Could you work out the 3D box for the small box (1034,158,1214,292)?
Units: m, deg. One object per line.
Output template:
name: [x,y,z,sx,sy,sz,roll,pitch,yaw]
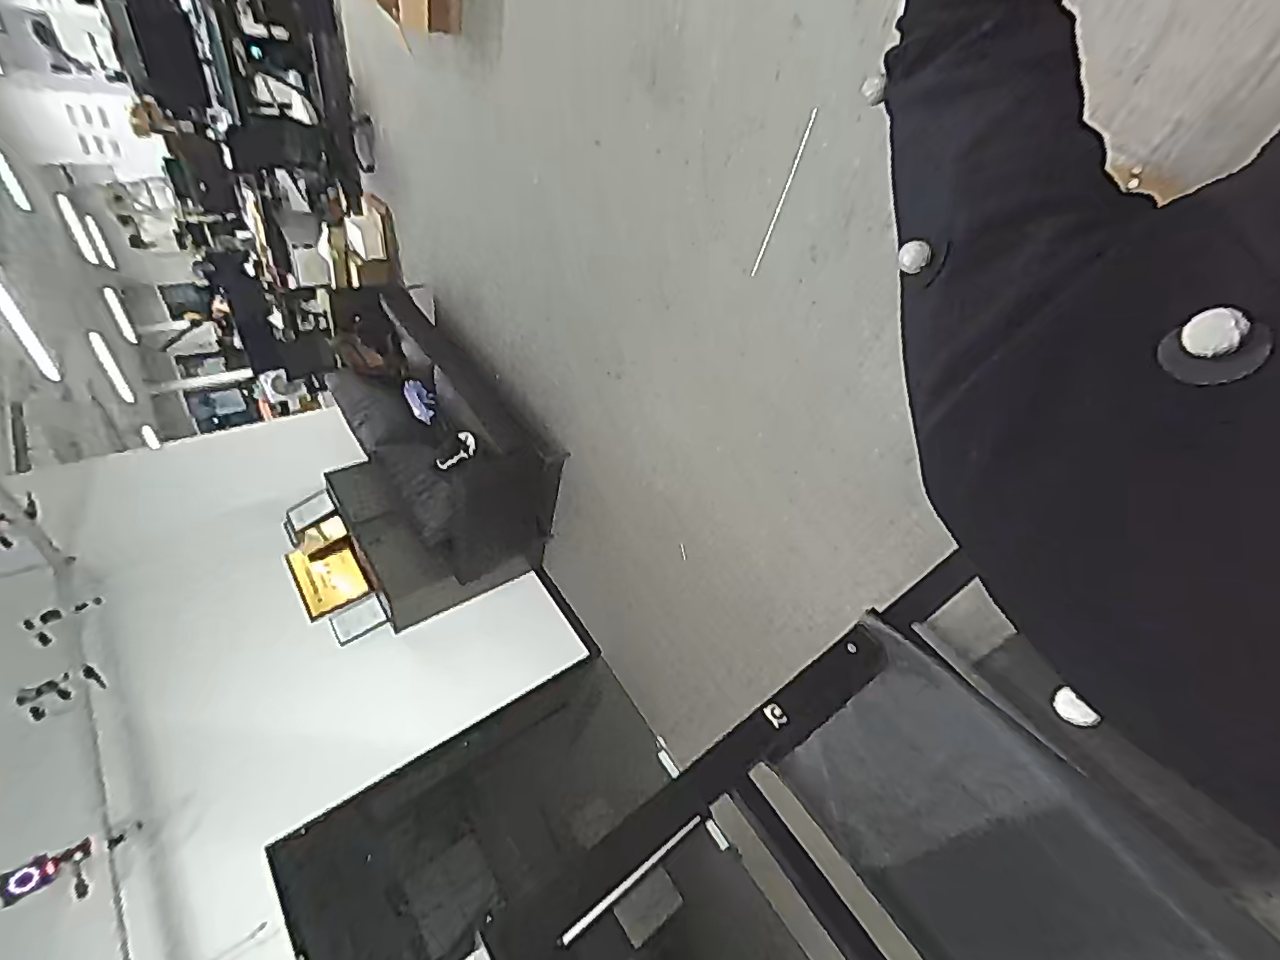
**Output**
small box: [0.918,-0.484,1.030,0.179,0.176,0.168,52,144,23]
